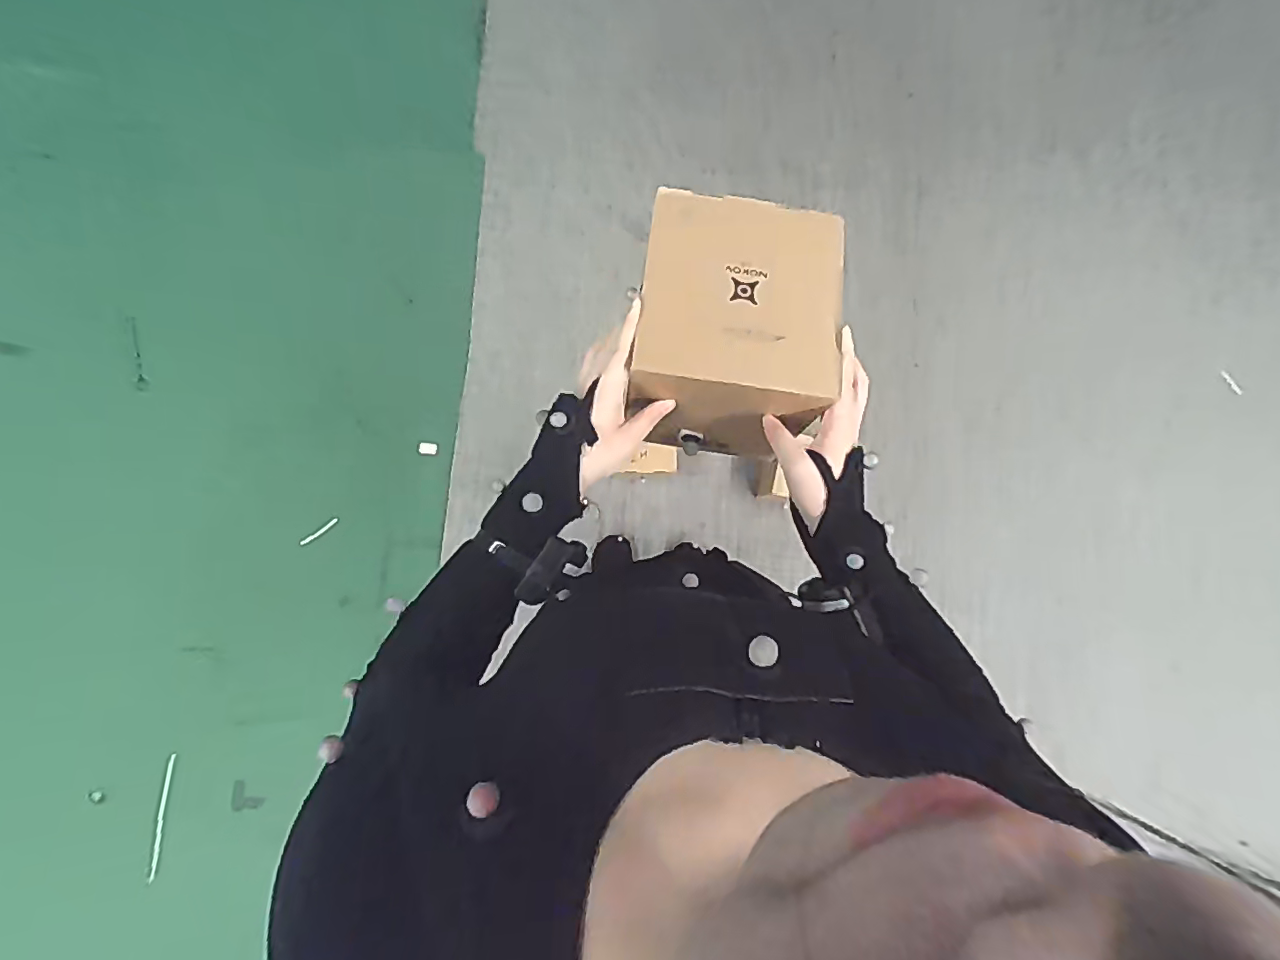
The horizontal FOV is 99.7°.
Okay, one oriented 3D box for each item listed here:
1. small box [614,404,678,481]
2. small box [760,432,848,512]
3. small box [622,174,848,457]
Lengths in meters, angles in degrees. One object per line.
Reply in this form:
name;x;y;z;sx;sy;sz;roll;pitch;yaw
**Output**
small box;0.013;-0.097;1.454;0.168;0.176;0.179;0;83;-1
small box;0.434;-0.018;1.458;0.168;0.176;0.179;14;84;0
small box;0.077;-0.138;0.506;0.168;0.176;0.179;9;74;-3
